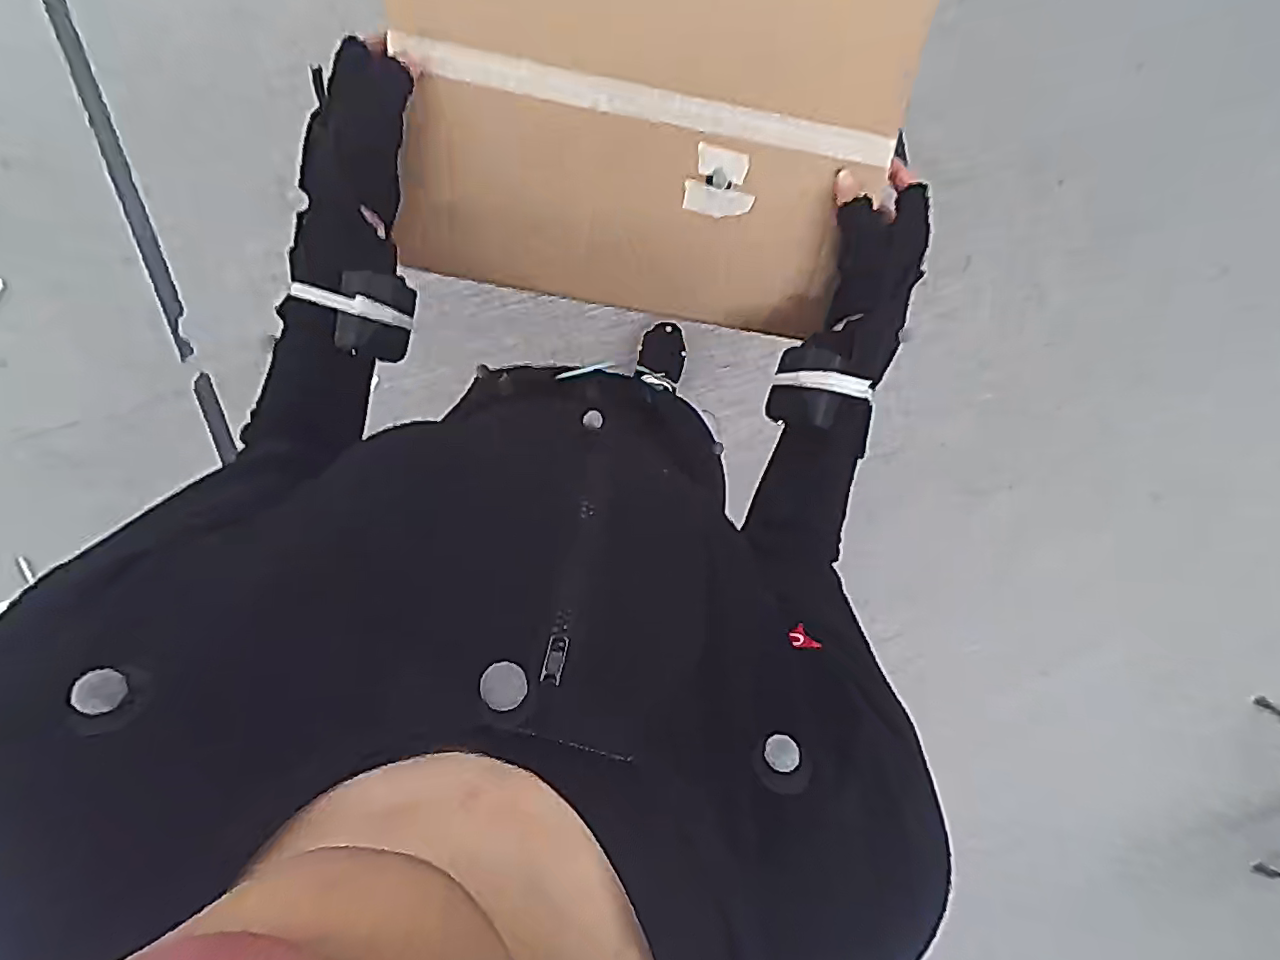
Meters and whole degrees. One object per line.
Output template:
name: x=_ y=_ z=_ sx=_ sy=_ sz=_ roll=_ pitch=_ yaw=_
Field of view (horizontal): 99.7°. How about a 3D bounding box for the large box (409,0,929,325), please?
large box: x=0.008 y=-0.371 z=0.577 sx=0.408 sy=0.320 sz=0.320 roll=8 pitch=114 yaw=-6
